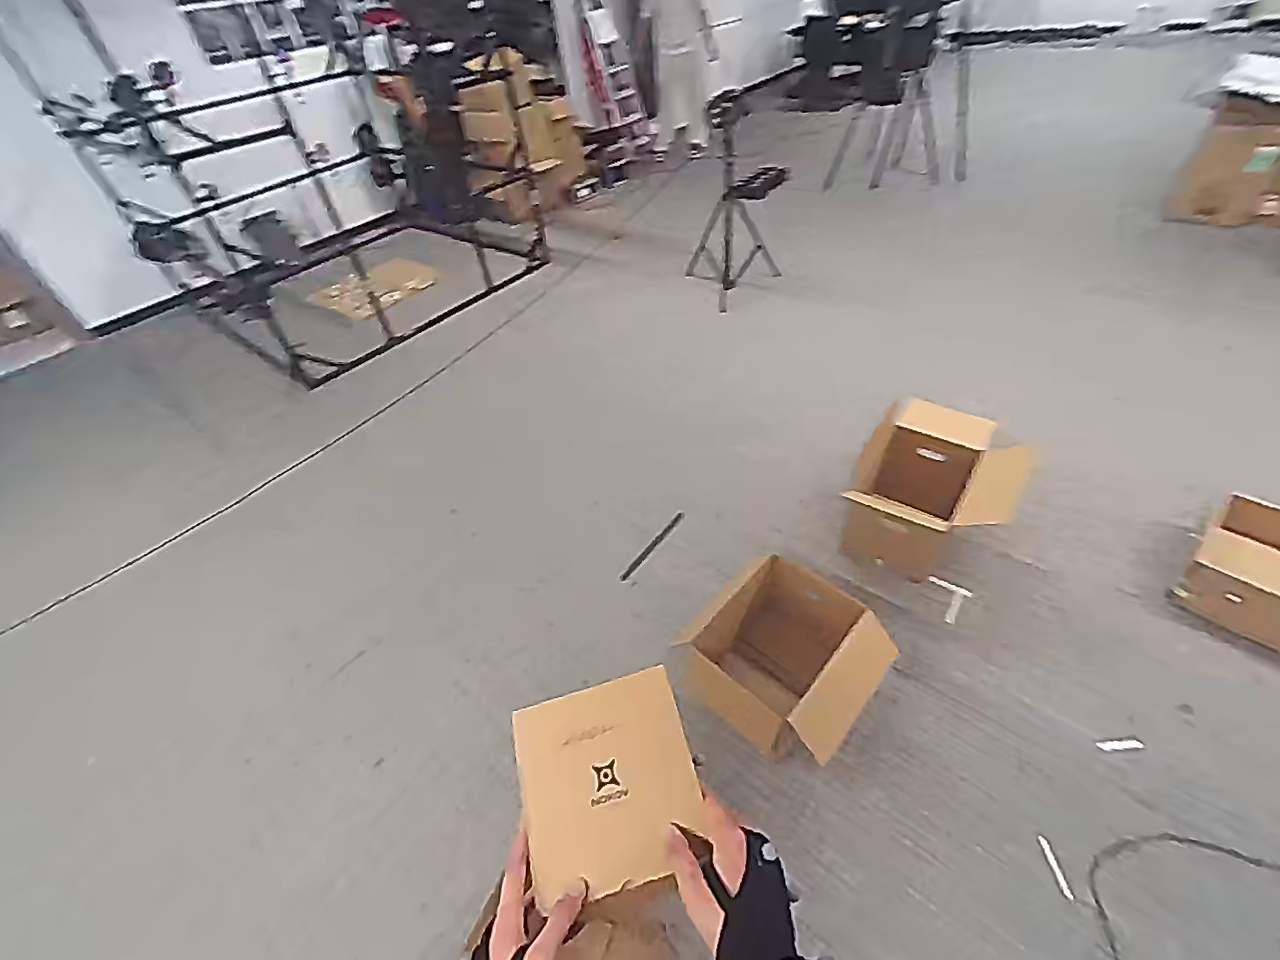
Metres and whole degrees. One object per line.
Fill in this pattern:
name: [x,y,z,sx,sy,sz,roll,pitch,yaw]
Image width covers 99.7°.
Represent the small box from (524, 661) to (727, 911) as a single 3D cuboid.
small box: [-0.011,0.316,0.572,0.168,0.176,0.179,-15,57,-2]
